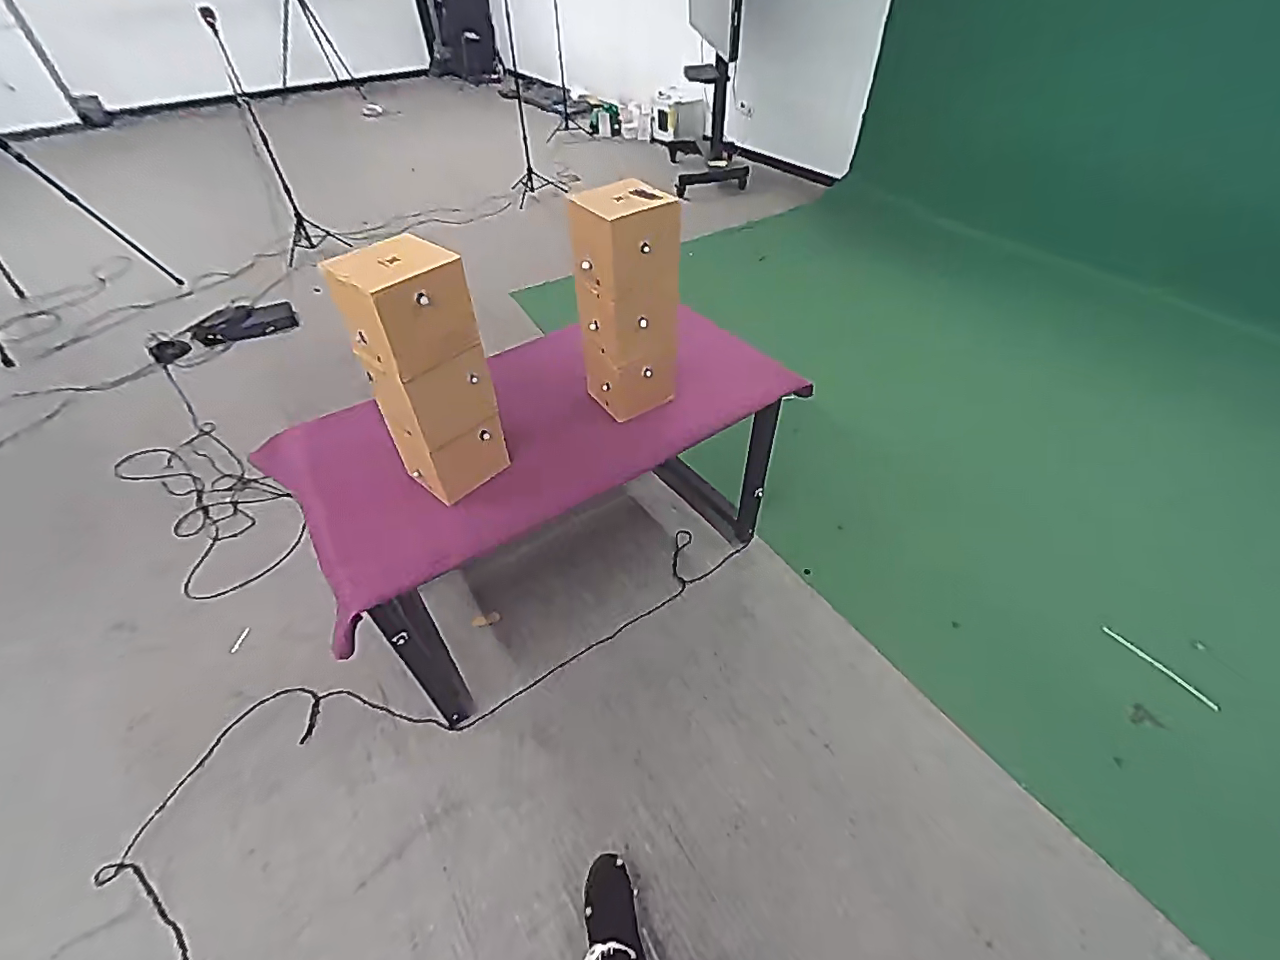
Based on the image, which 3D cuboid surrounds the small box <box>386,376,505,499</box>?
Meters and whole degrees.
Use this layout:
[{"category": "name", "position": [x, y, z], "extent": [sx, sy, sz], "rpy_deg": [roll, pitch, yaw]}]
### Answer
[{"category": "small box", "position": [-0.416, -0.094, 1.192], "extent": [0.168, 0.176, 0.179], "rpy_deg": [32, 55, 28]}]

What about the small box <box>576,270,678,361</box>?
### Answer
[{"category": "small box", "position": [-0.026, -0.404, 1.255], "extent": [0.179, 0.176, 0.168], "rpy_deg": [-28, 53, -21]}]

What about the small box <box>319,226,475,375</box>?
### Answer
[{"category": "small box", "position": [-0.412, -0.316, 0.952], "extent": [0.168, 0.176, 0.179], "rpy_deg": [31, 54, 26]}]

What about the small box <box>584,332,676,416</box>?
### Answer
[{"category": "small box", "position": [-0.022, -0.290, 1.372], "extent": [0.179, 0.176, 0.168], "rpy_deg": [-26, 52, -21]}]

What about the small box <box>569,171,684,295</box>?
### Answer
[{"category": "small box", "position": [-0.029, -0.518, 1.136], "extent": [0.179, 0.176, 0.168], "rpy_deg": [-29, 53, -22]}]
